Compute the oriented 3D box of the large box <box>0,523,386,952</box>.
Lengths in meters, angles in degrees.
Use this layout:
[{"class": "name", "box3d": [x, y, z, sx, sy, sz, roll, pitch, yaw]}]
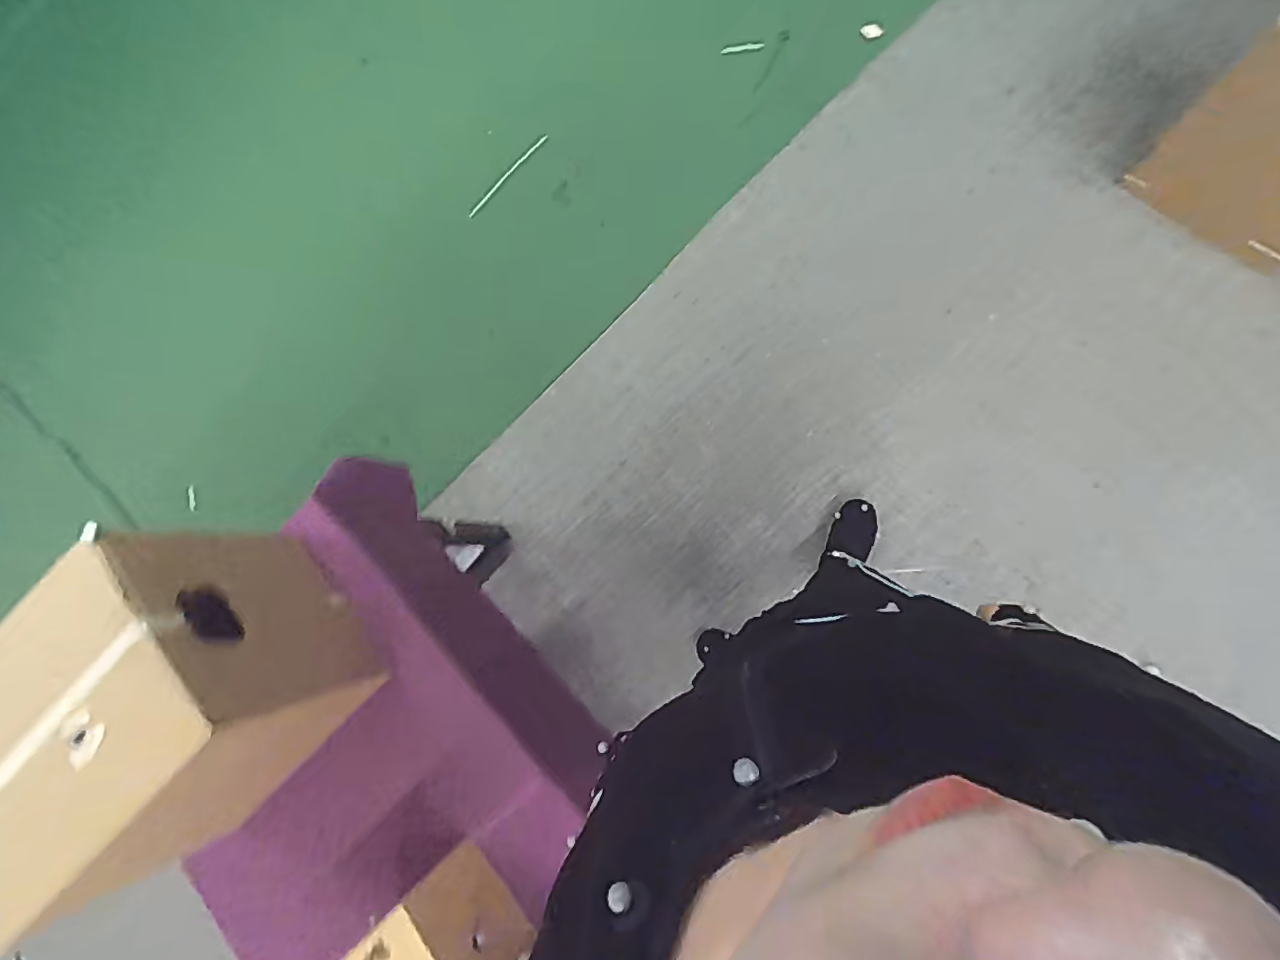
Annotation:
[{"class": "large box", "box3d": [-0.675, 0.319, 0.775, 0.408, 0.320, 0.320, -45, 77, 2]}]
